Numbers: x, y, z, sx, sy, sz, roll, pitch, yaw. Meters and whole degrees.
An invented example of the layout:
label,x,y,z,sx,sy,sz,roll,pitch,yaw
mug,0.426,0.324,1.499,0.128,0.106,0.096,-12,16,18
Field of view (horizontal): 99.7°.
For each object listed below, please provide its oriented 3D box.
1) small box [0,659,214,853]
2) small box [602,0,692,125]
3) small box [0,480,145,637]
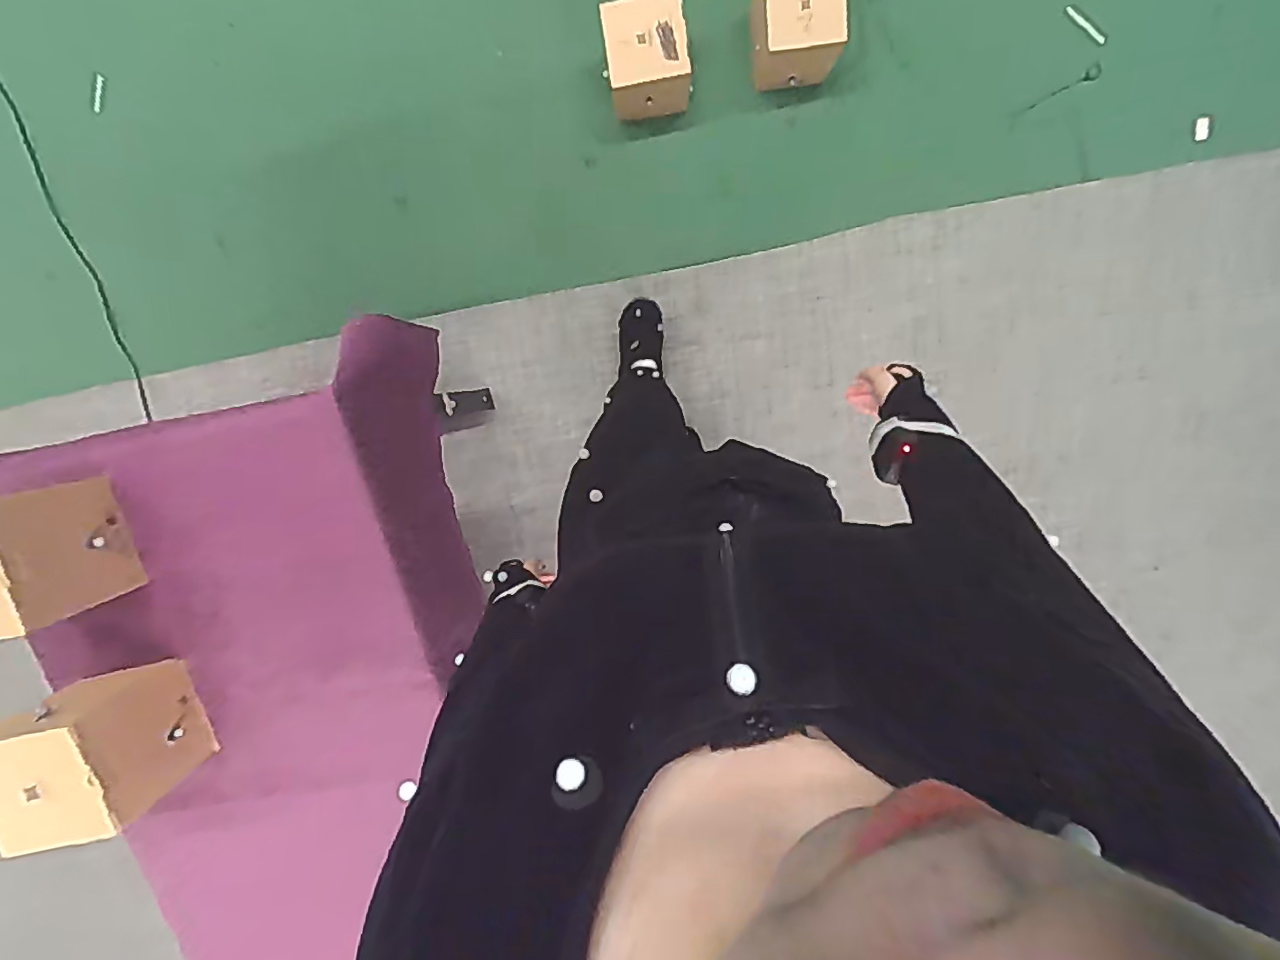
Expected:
label,x,y,z,sx,sy,sz,roll,pitch,yaw
small box,-0.776,0.383,0.774,0.179,0.176,0.168,-13,100,3
small box,0.018,-0.946,1.230,0.179,0.176,0.168,-8,100,5
small box,-0.834,0.105,0.718,0.179,0.176,0.168,-11,101,1
